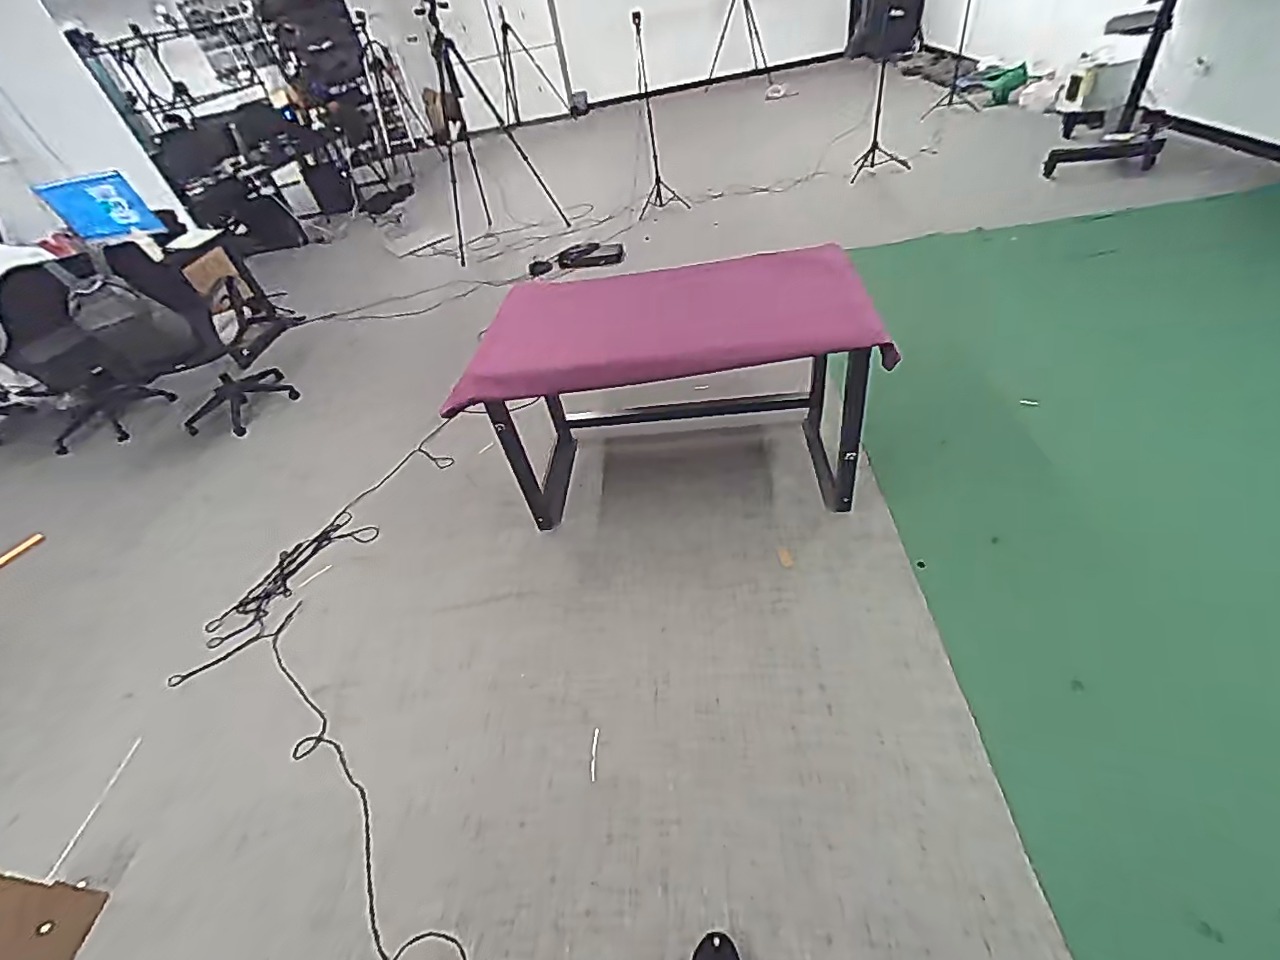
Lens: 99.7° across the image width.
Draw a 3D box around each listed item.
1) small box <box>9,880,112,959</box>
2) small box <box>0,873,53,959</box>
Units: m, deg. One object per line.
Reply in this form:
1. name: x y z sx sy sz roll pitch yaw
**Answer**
1. small box: -1.489 1.113 1.337 0.168 0.176 0.179 -7 43 7
2. small box: -1.518 1.003 1.218 0.168 0.176 0.179 -6 43 7
